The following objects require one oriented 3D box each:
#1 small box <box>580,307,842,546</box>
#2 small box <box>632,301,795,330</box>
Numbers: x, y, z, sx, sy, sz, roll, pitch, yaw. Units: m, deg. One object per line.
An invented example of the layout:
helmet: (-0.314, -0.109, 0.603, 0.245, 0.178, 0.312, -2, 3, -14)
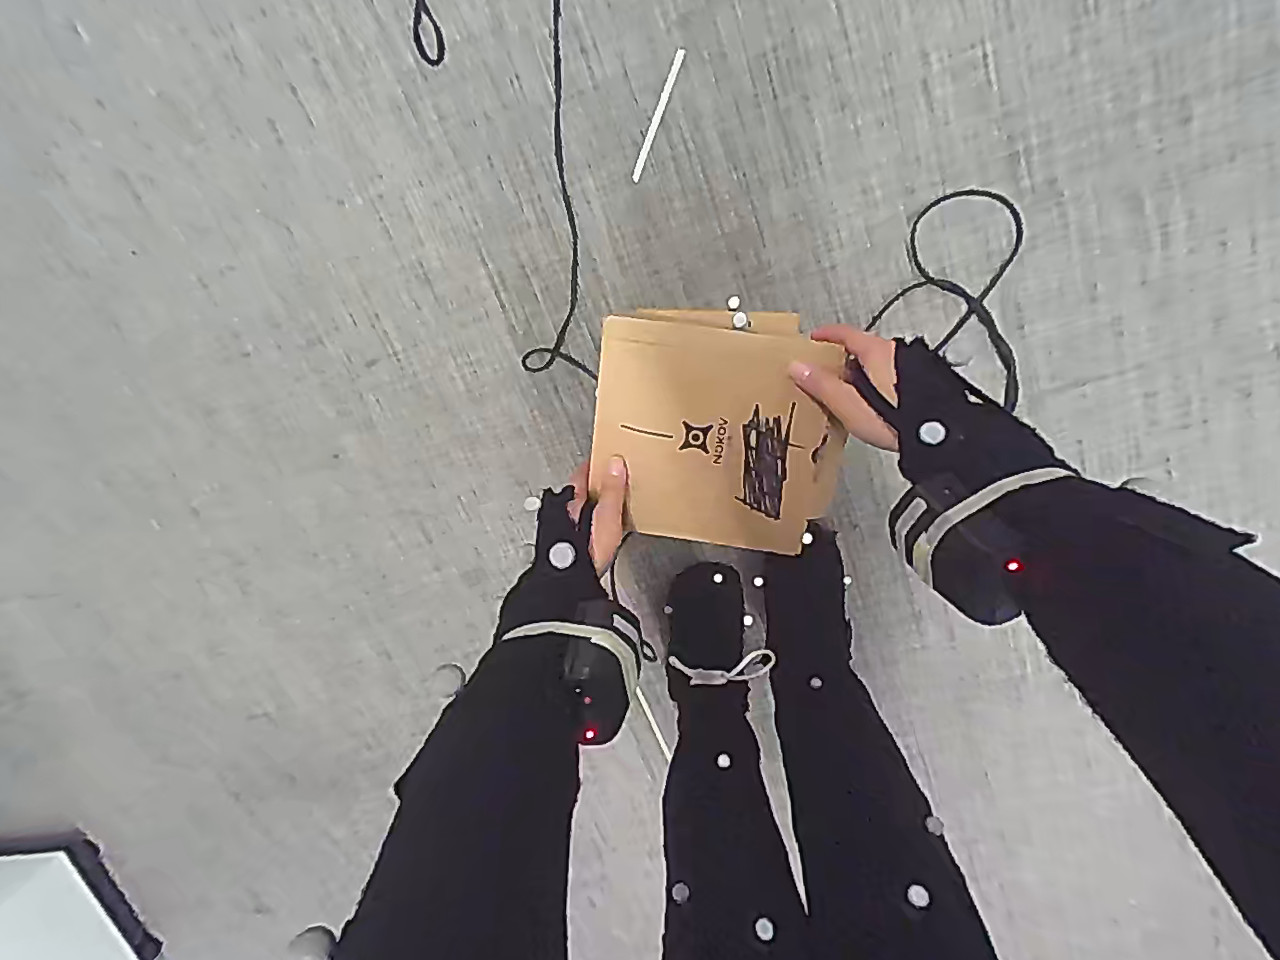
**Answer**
small box: (0.055, -0.060, 0.484, 0.179, 0.176, 0.168, 9, 108, 3)
small box: (0.077, -0.117, 0.639, 0.168, 0.176, 0.179, 3, 108, 4)
